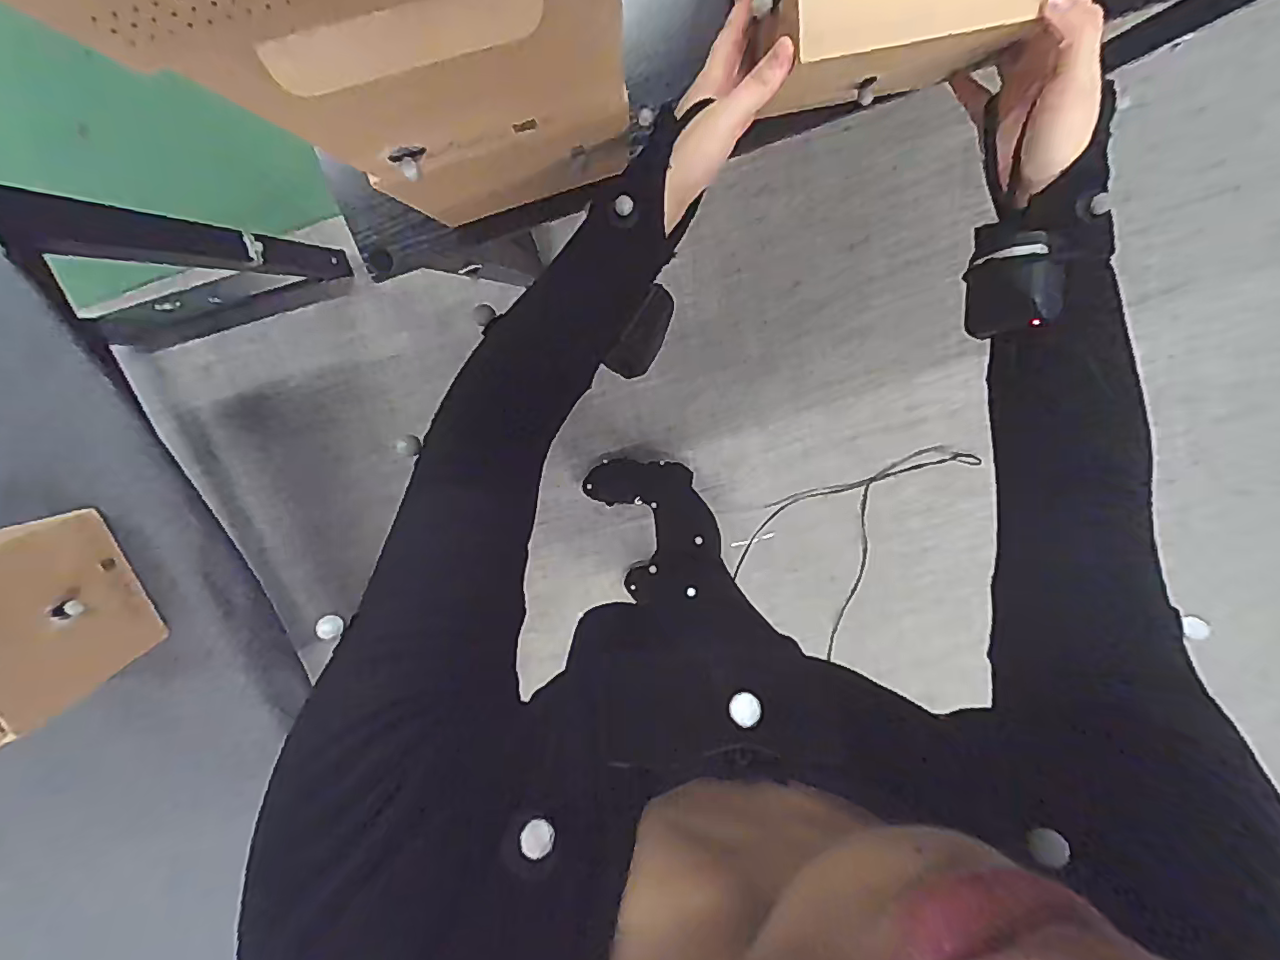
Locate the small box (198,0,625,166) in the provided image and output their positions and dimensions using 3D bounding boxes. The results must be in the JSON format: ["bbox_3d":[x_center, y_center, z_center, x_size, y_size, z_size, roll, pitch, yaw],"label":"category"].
[{"bbox_3d":[-0.103,-0.263,0.239,0.168,0.176,0.179,-14,106,2],"label":"small box"}]

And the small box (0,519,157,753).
[{"bbox_3d":[-0.640,0.153,0.533,0.179,0.176,0.168,-13,107,5],"label":"small box"}]
